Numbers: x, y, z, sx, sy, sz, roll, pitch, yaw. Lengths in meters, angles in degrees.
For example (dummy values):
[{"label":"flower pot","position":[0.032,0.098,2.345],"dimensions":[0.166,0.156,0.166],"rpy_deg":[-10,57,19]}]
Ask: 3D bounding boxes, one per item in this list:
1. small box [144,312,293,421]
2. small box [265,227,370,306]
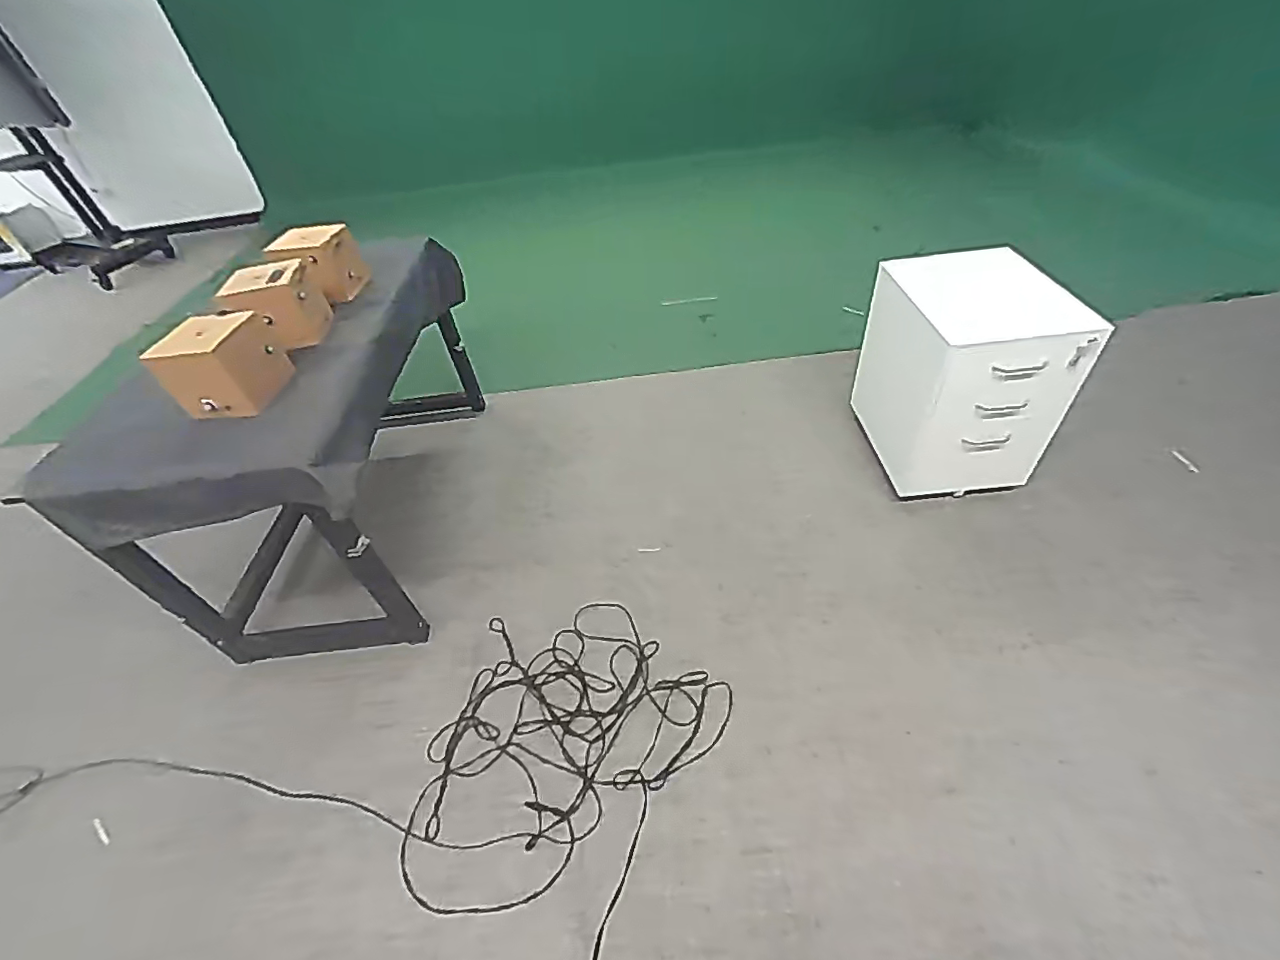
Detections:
[{"label":"small box","position":[-0.925,-0.253,1.212],"dimensions":[0.168,0.176,0.179],"rpy_deg":[-4,45,6]},{"label":"small box","position":[-0.943,-0.627,1.598],"dimensions":[0.179,0.176,0.168],"rpy_deg":[-3,44,5]}]
